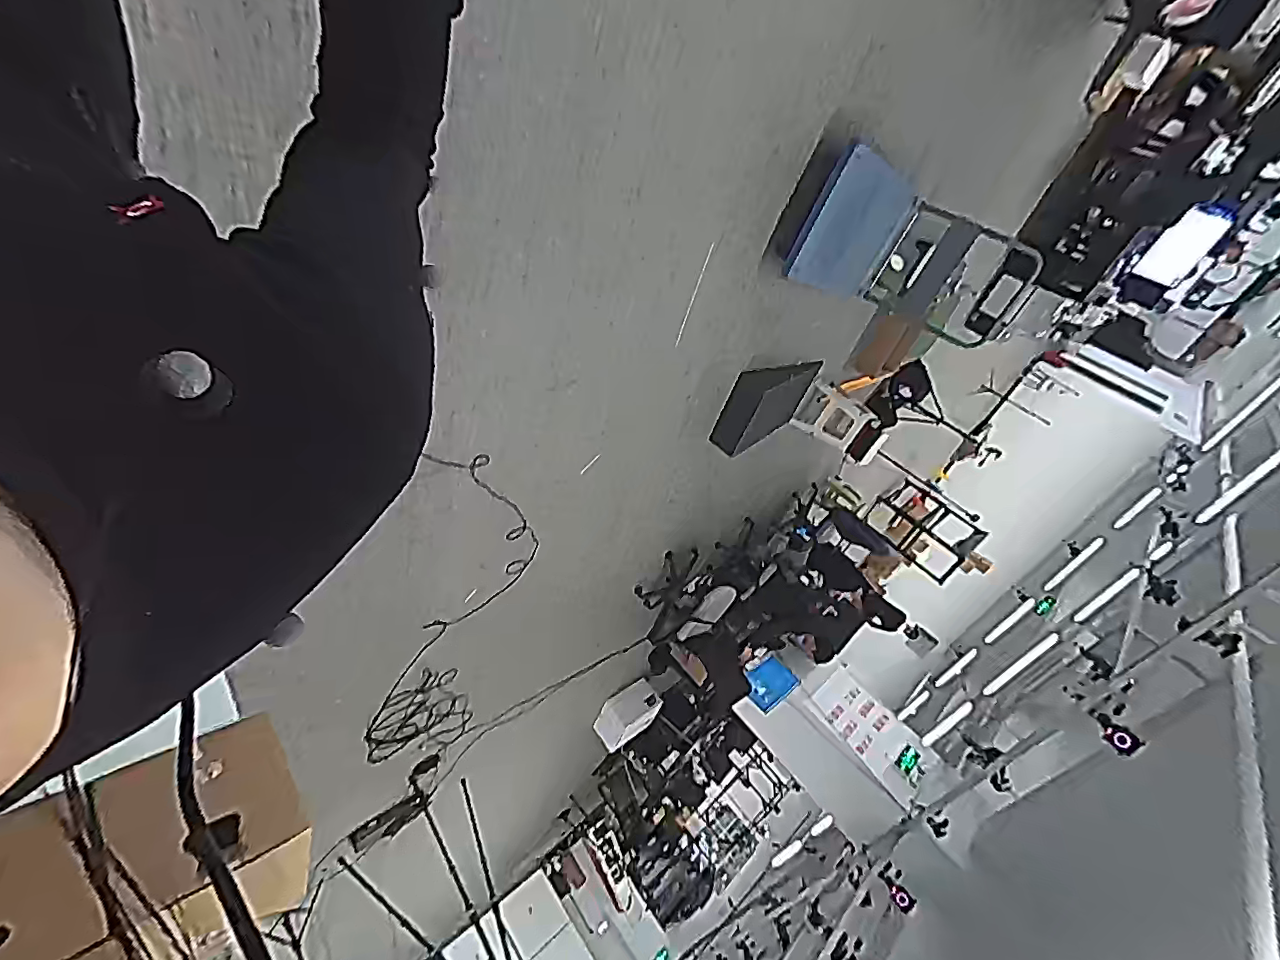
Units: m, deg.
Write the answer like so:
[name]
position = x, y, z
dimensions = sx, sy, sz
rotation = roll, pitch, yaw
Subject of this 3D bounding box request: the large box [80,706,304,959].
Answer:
[large box]
position = -0.989, 0.798, 1.221
dimensions = 0.320, 0.320, 0.408
rotation = -13, 139, -45
